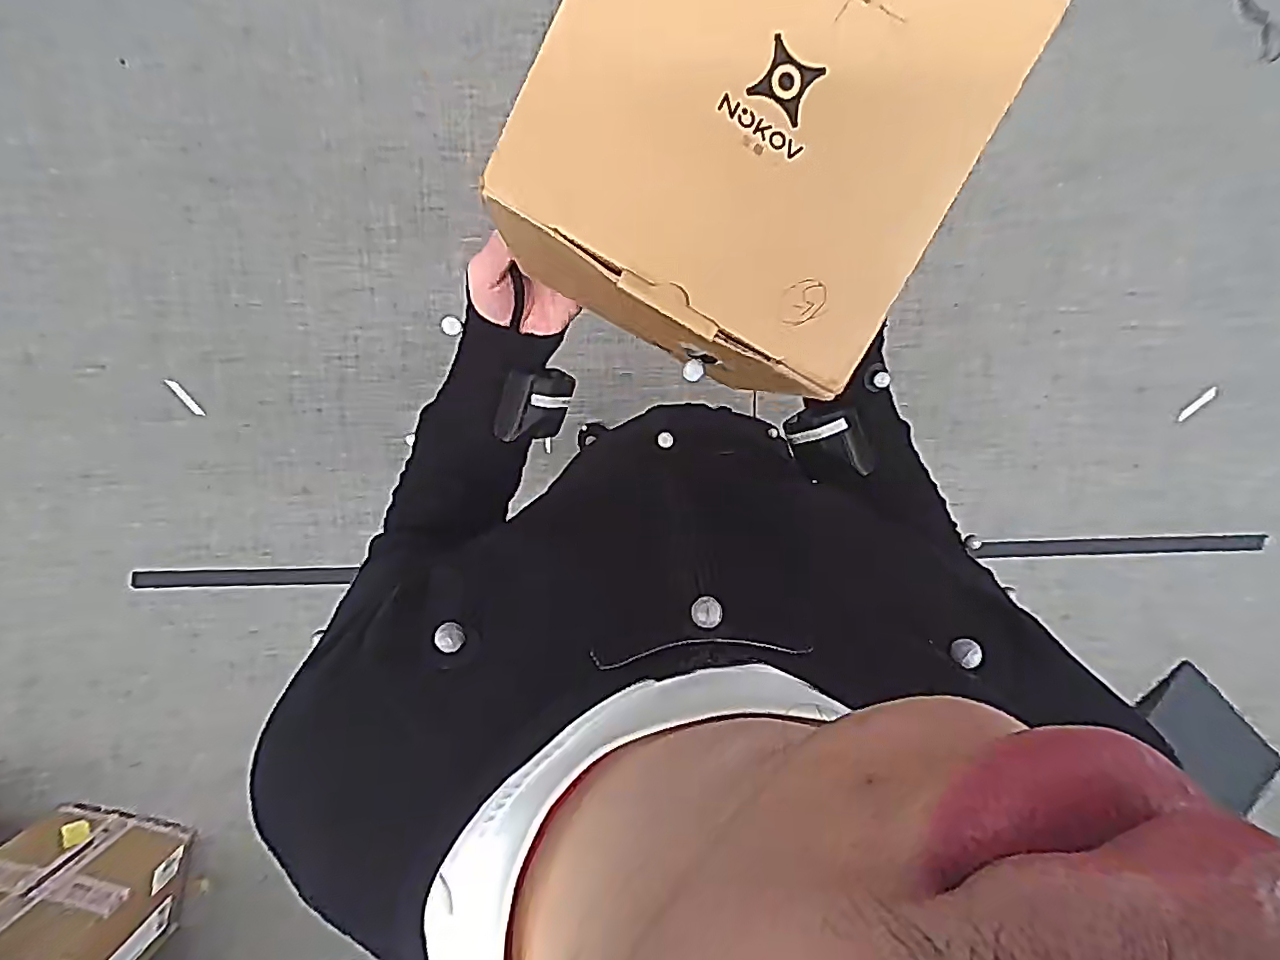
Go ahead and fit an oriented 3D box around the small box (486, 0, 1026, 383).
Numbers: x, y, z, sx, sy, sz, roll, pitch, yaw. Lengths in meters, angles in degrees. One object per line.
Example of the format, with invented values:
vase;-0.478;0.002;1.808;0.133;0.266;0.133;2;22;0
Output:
small box;0.039;-0.167;0.293;0.168;0.176;0.179;26;96;-12
